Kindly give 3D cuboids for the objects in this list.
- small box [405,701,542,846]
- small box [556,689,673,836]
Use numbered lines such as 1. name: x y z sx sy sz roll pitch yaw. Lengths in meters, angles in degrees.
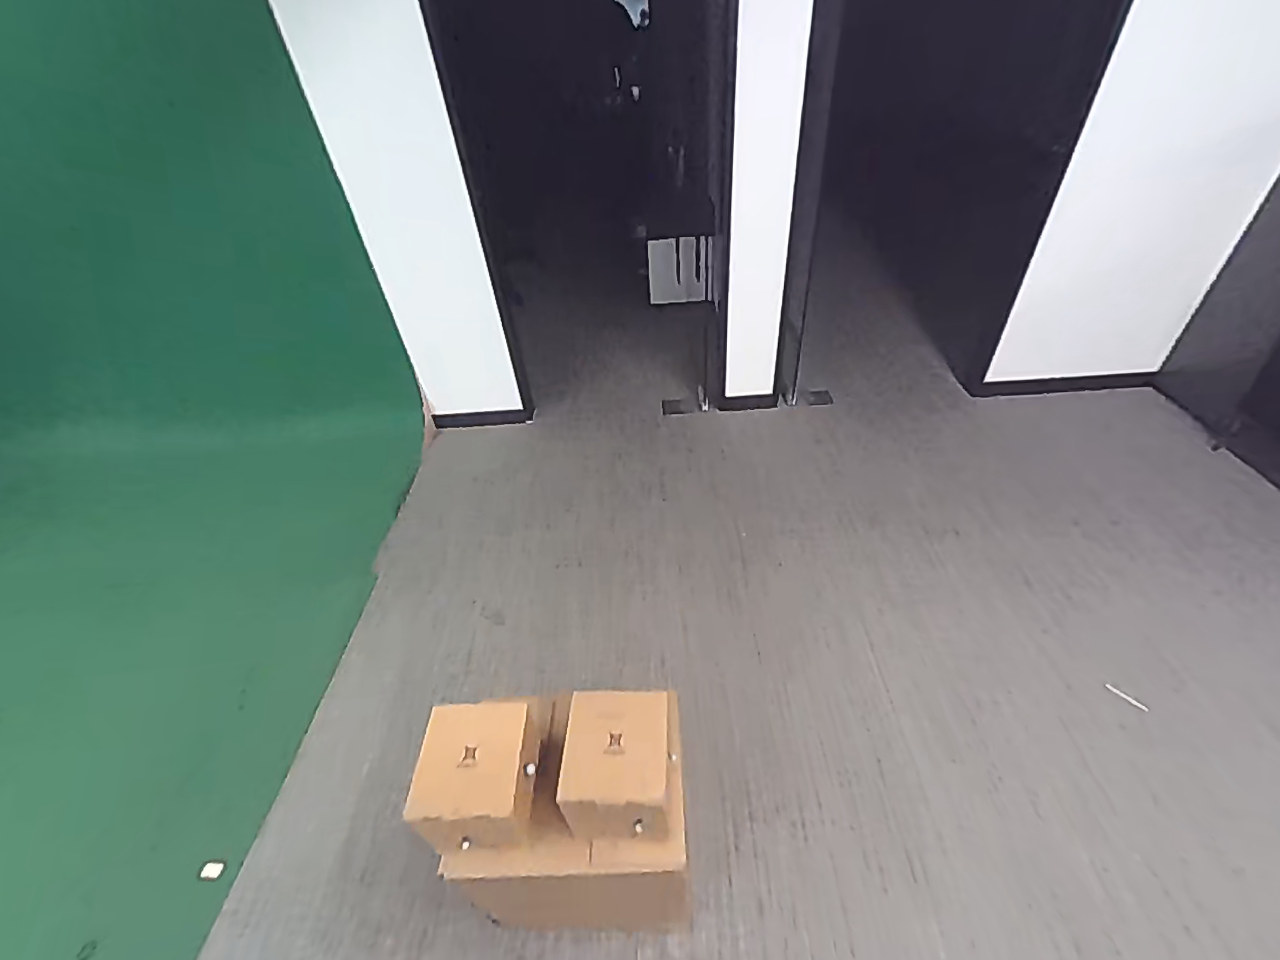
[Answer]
1. small box: -0.268 0.498 0.919 0.168 0.176 0.179 -3 43 2
2. small box: -0.032 0.477 0.912 0.168 0.176 0.179 -1 40 6
